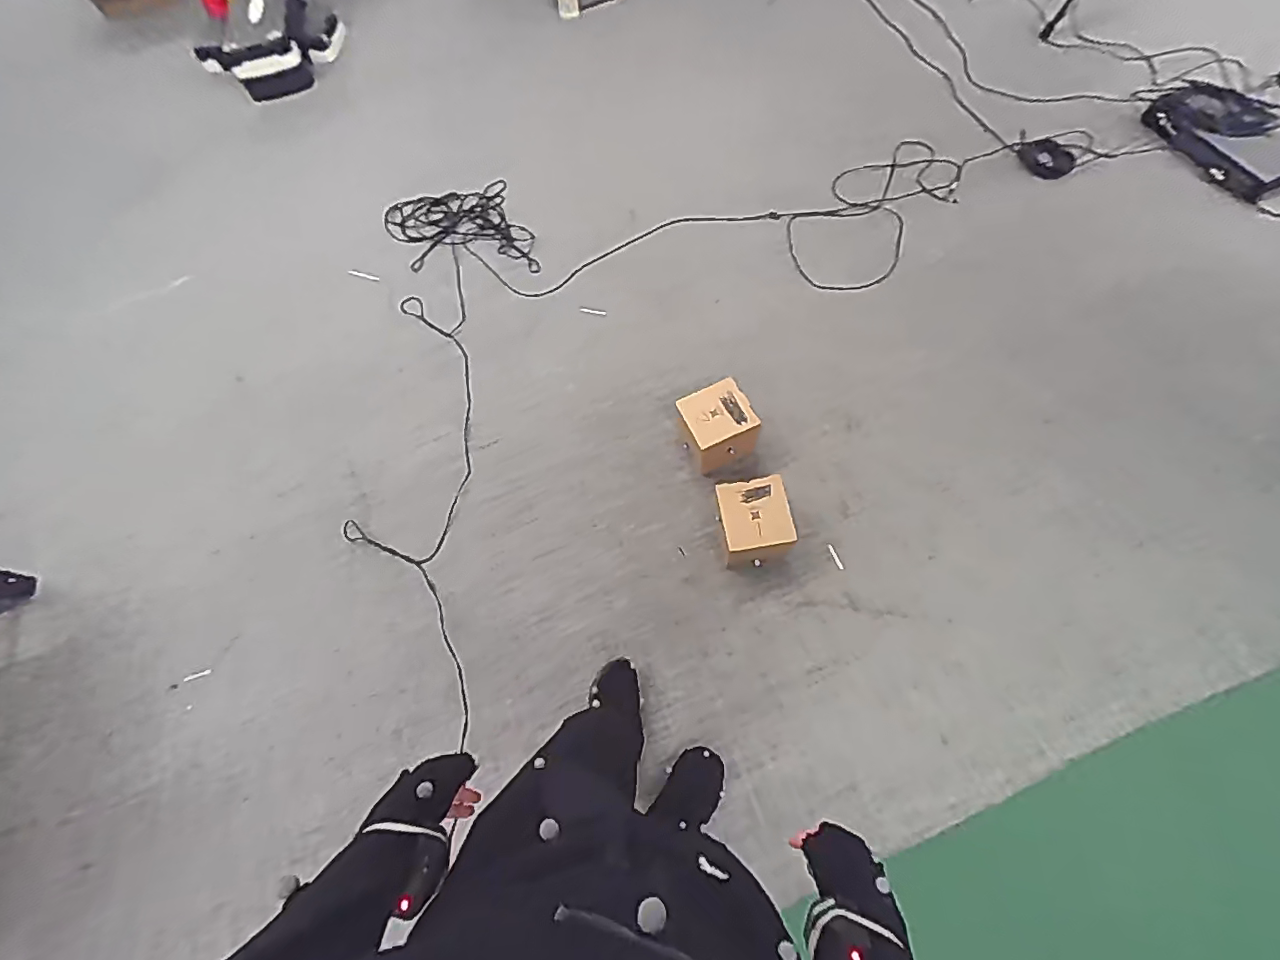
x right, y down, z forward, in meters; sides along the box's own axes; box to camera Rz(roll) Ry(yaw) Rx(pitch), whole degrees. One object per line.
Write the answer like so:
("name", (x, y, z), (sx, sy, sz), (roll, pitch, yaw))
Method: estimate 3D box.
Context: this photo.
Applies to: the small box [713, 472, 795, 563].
("small box", (0.283, 0.100, 1.383), (0.168, 0.176, 0.179), (-10, 67, 2))
